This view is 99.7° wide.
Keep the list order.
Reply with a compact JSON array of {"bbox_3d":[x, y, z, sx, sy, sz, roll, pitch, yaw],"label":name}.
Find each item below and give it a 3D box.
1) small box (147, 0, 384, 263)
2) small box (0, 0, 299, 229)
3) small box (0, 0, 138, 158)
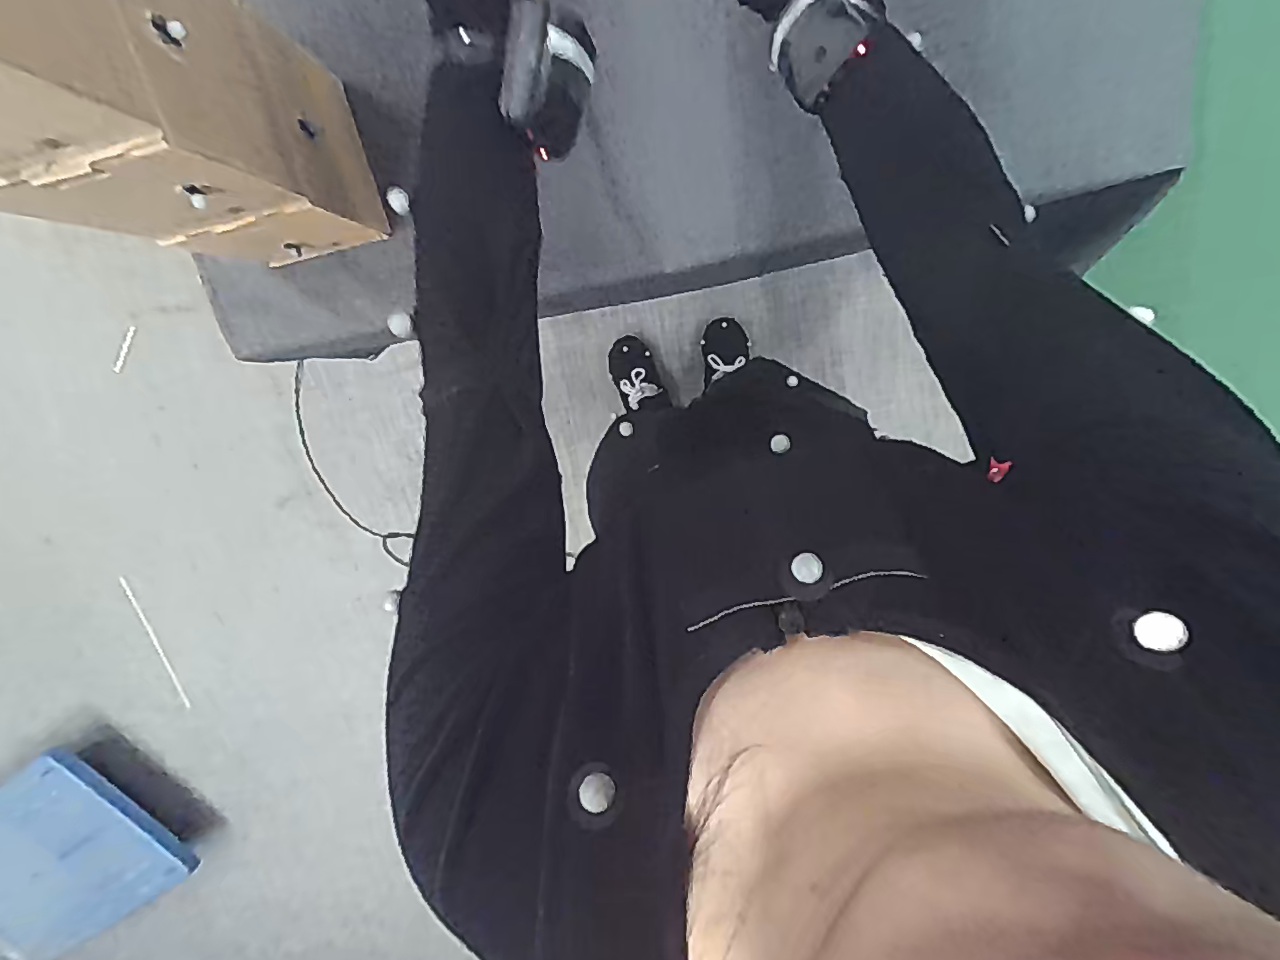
[{"bbox_3d":[-0.410,-0.347,0.575,0.168,0.176,0.179,-12,105,4],"label":"small box"},{"bbox_3d":[-0.410,-0.308,0.418,0.168,0.176,0.179,-12,105,3],"label":"small box"},{"bbox_3d":[-0.413,-0.271,0.258,0.168,0.176,0.179,-13,105,3],"label":"small box"}]
